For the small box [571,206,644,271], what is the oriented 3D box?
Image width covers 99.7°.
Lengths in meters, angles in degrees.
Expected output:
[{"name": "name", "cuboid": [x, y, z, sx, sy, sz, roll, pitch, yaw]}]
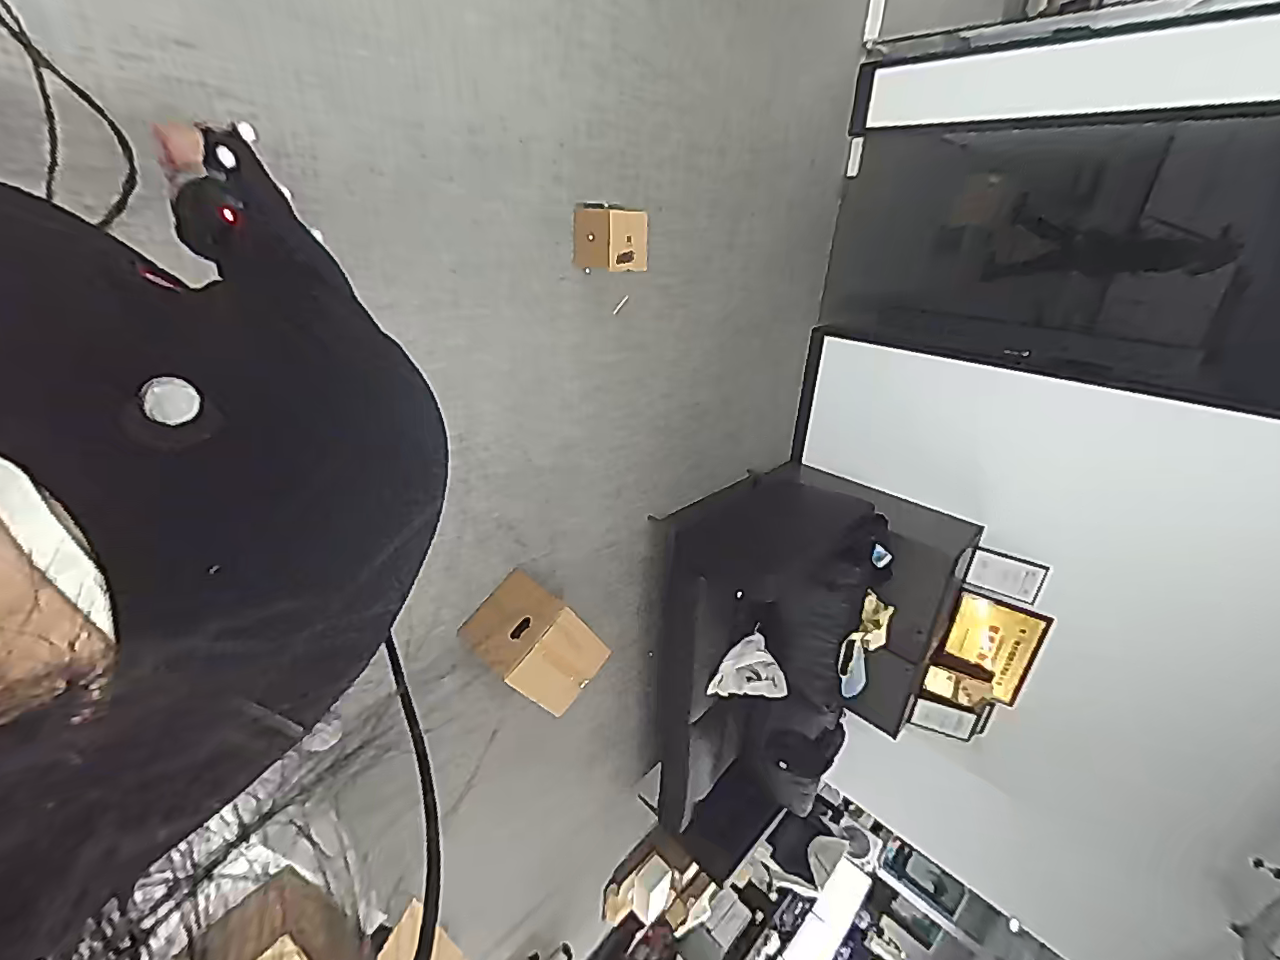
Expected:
[{"name": "small box", "cuboid": [-0.108, -0.776, 1.735, 0.168, 0.176, 0.179, -21, 125, -41]}]
